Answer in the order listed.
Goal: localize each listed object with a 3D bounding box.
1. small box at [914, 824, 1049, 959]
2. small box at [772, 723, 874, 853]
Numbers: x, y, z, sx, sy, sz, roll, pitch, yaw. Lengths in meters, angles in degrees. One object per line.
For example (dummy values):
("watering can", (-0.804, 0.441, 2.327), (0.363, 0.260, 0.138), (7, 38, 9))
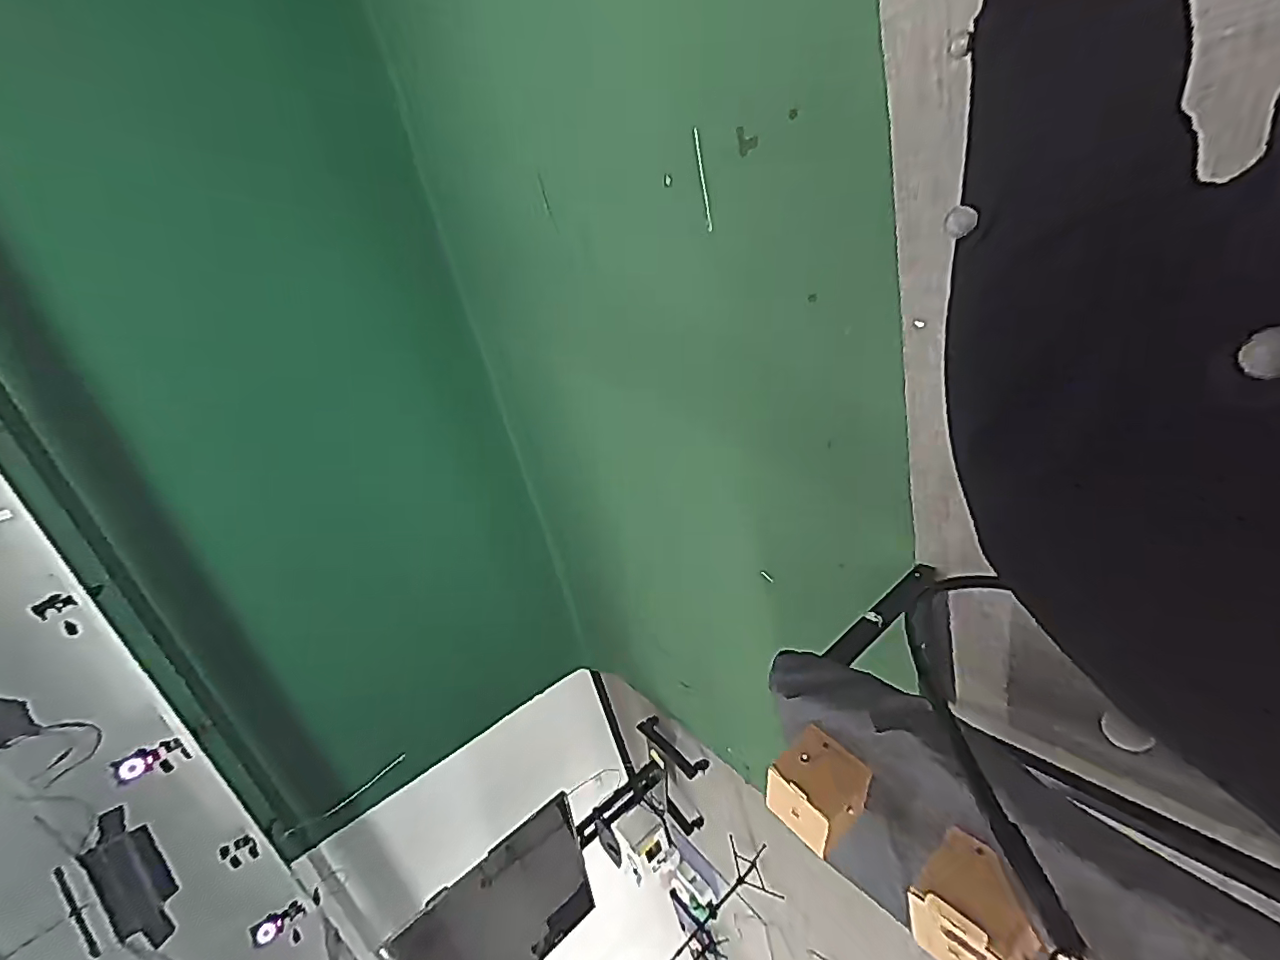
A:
("small box", (0.643, 0.806, 1.020), (0.168, 0.176, 0.179), (17, 129, 52))
("small box", (0.433, 0.721, 1.284), (0.168, 0.176, 0.179), (30, 139, 45))
